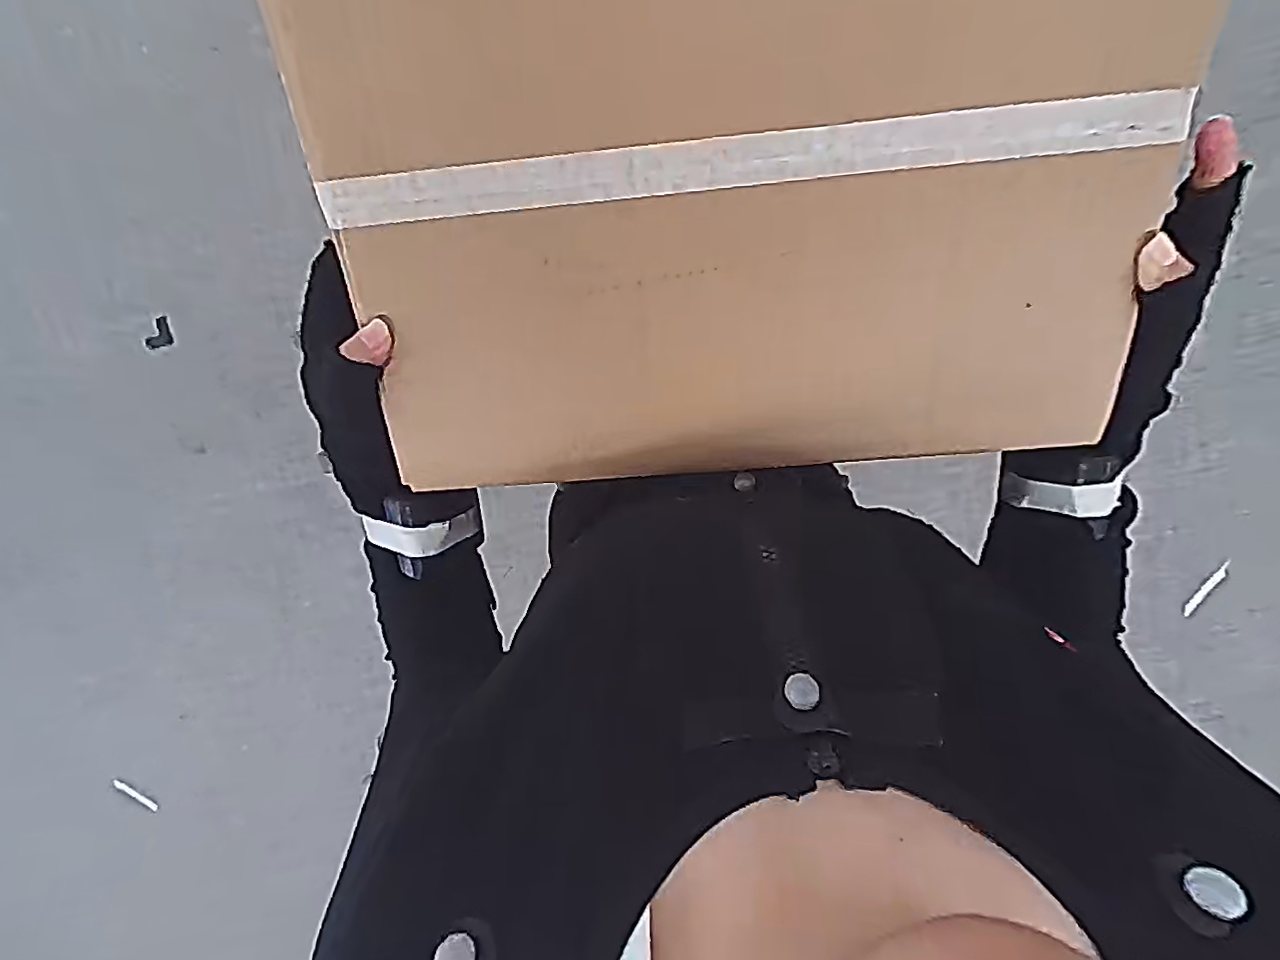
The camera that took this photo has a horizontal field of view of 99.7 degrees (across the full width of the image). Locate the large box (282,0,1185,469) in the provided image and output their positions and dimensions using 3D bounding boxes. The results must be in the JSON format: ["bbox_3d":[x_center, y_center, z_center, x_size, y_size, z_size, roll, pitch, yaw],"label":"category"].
[{"bbox_3d":[0.044,-0.221,0.400,0.408,0.320,0.320,-4,115,3],"label":"large box"}]
